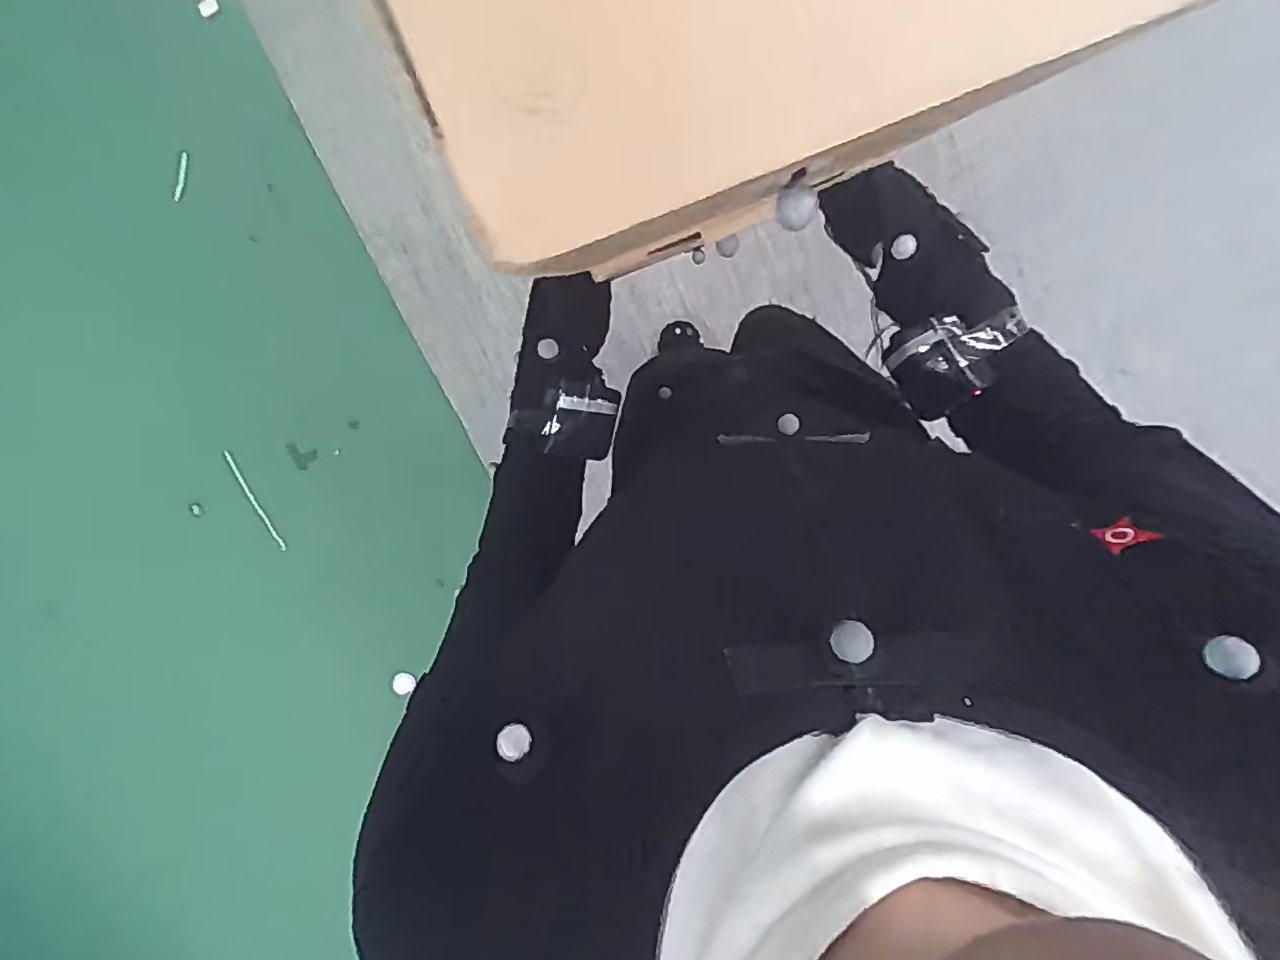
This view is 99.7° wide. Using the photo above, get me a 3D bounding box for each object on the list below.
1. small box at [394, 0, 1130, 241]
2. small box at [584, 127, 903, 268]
[{"bbox_3d":[0.022,-0.183,0.163,0.179,0.176,0.168,-18,112,8],"label":"small box"},{"bbox_3d":[0.025,-0.243,0.315,0.168,0.176,0.179,-19,111,9],"label":"small box"}]
